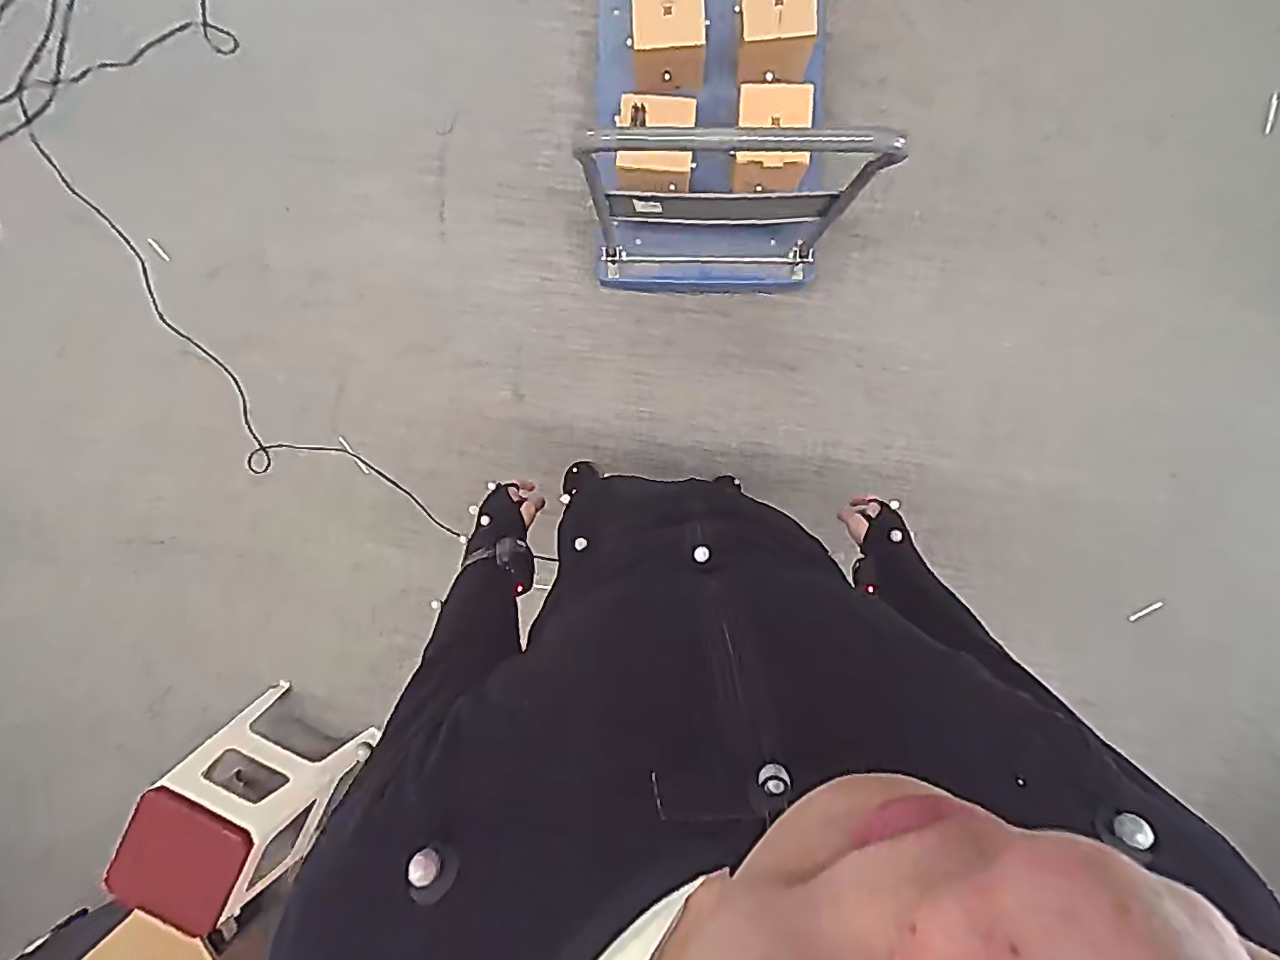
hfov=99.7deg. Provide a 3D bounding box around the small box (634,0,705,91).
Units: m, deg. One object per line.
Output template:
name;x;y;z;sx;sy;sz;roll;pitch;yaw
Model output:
small box;0.073;-1.087;1.321;0.168;0.176;0.179;-2;93;3

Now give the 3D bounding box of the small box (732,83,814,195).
small box;0.318;-0.828;1.322;0.168;0.176;0.179;2;94;3

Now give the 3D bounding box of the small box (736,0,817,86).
small box;0.324;-1.098;1.304;0.168;0.176;0.179;-2;94;5
